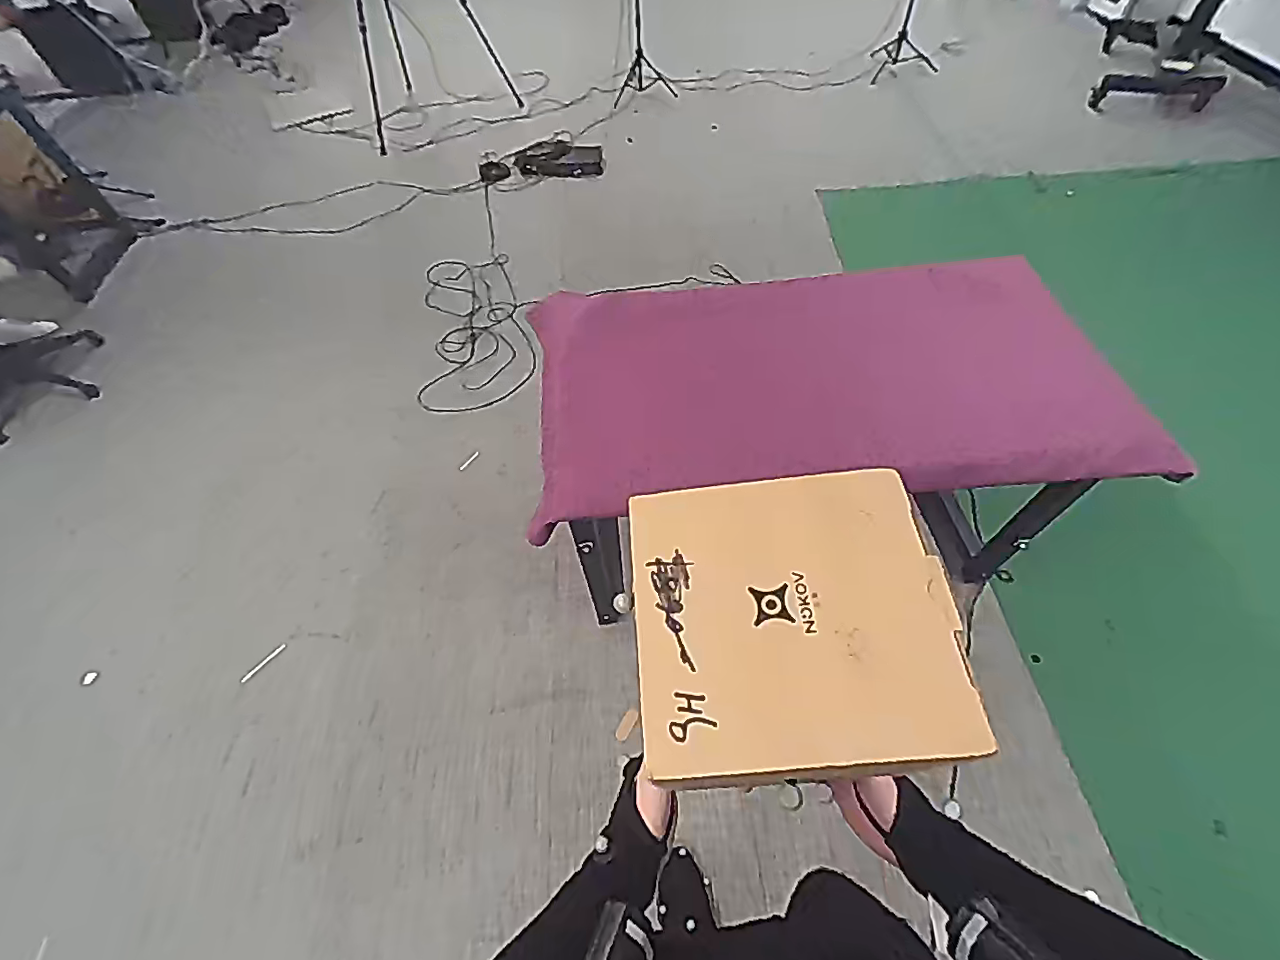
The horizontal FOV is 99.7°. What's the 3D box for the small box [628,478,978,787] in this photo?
[{"bbox_3d":[0.087,0.116,0.382,0.179,0.176,0.168,-5,57,3],"label":"small box"}]
